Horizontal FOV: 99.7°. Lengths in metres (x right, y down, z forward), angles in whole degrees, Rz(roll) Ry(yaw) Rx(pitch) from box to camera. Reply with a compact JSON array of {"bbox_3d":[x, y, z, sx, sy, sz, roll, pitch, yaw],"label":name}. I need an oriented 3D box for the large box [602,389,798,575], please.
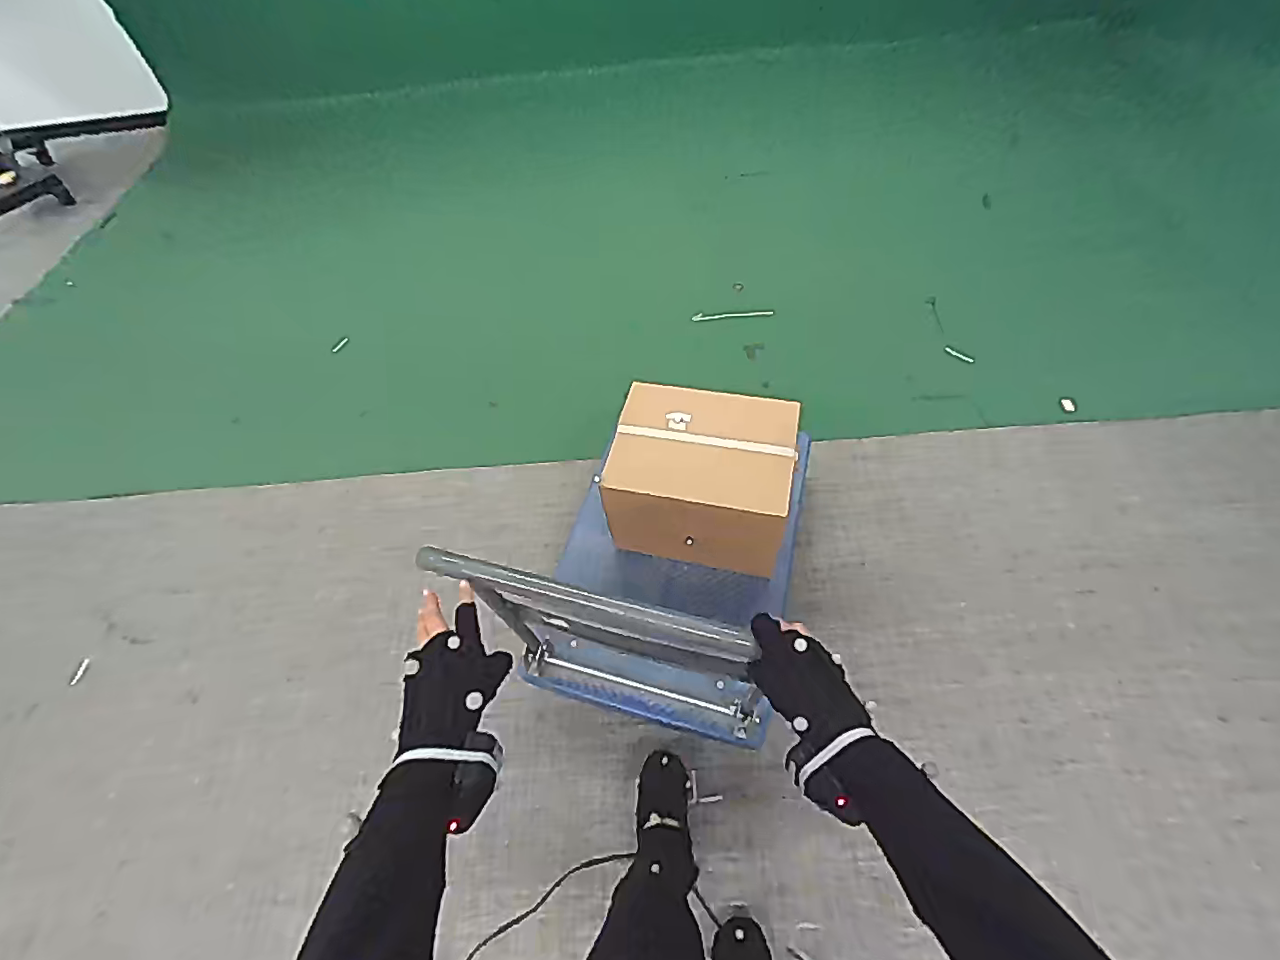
[{"bbox_3d":[0.159,0.009,1.340,0.408,0.320,0.320,9,57,12],"label":"large box"}]
